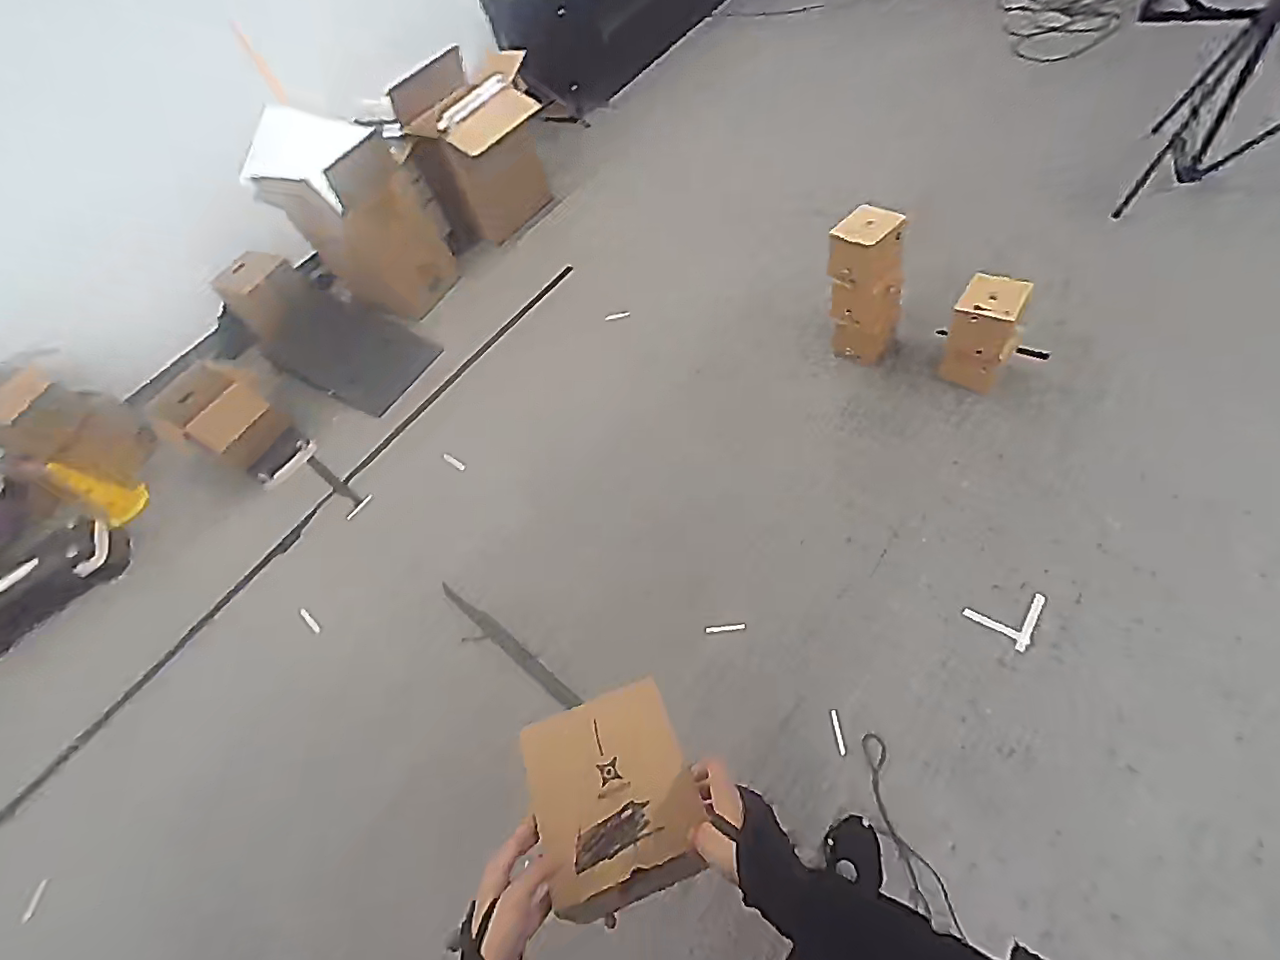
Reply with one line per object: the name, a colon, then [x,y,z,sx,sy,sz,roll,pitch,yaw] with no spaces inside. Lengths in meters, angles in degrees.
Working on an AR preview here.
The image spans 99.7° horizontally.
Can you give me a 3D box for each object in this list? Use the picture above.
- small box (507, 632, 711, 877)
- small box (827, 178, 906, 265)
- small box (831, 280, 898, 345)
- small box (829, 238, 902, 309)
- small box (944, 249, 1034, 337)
small box: [-0.029,0.302,0.588,0.168,0.176,0.179,-18,49,-9]
small box: [0.717,-0.828,1.736,0.179,0.176,0.168,-41,54,-11]
small box: [0.812,-0.628,1.976,0.168,0.176,0.179,31,70,34]
small box: [0.766,-0.724,1.855,0.168,0.176,0.179,34,72,34]
small box: [1.061,-0.572,1.656,0.168,0.176,0.179,27,68,31]
